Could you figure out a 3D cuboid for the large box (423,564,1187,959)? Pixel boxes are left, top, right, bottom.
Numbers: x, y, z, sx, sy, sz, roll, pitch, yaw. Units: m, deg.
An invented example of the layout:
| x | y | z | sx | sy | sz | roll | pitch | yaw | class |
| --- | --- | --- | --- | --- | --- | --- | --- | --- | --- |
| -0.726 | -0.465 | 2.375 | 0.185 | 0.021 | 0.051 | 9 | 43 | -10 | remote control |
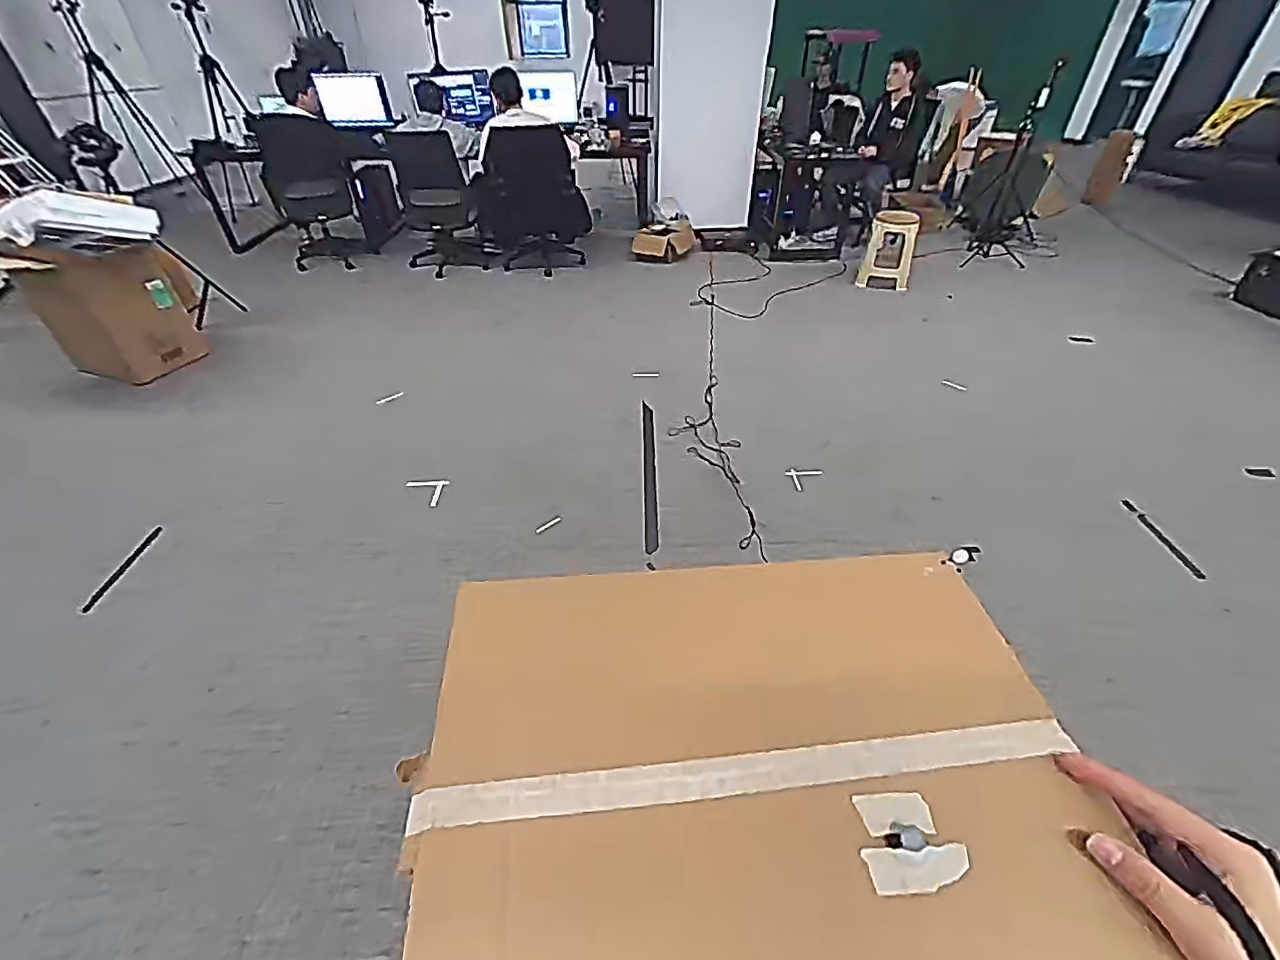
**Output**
| x | y | z | sx | sy | sz | roll | pitch | yaw | class |
| --- | --- | --- | --- | --- | --- | --- | --- | --- | --- |
| 0.069 | 0.297 | 0.441 | 0.408 | 0.320 | 0.320 | -2 | 45 | -7 | large box |
